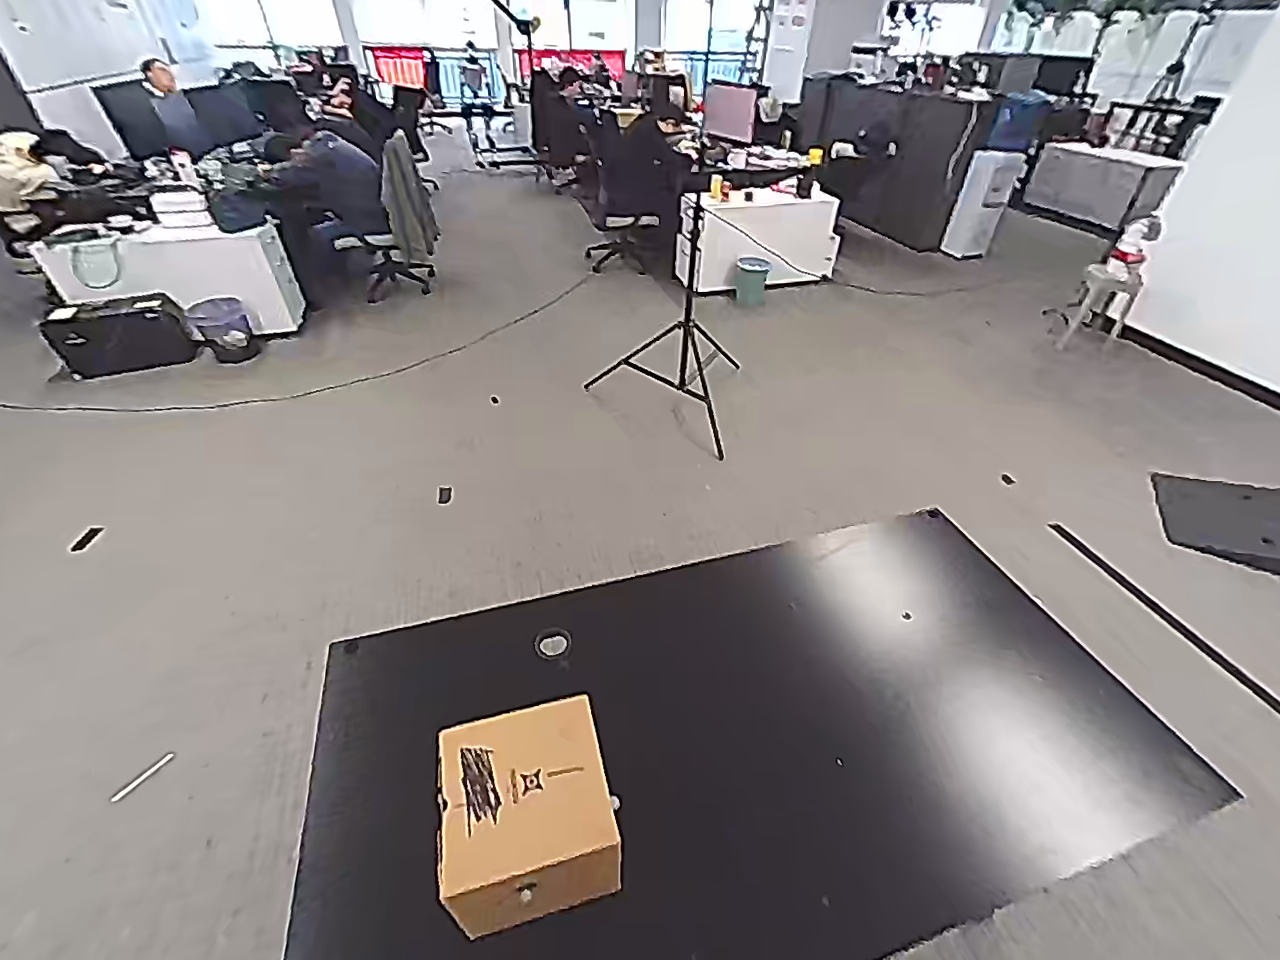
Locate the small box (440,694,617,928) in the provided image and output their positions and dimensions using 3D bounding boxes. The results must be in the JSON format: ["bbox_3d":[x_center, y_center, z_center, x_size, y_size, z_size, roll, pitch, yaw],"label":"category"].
[{"bbox_3d":[-0.128,0.388,0.637,0.179,0.176,0.168,-9,41,-14],"label":"small box"}]
